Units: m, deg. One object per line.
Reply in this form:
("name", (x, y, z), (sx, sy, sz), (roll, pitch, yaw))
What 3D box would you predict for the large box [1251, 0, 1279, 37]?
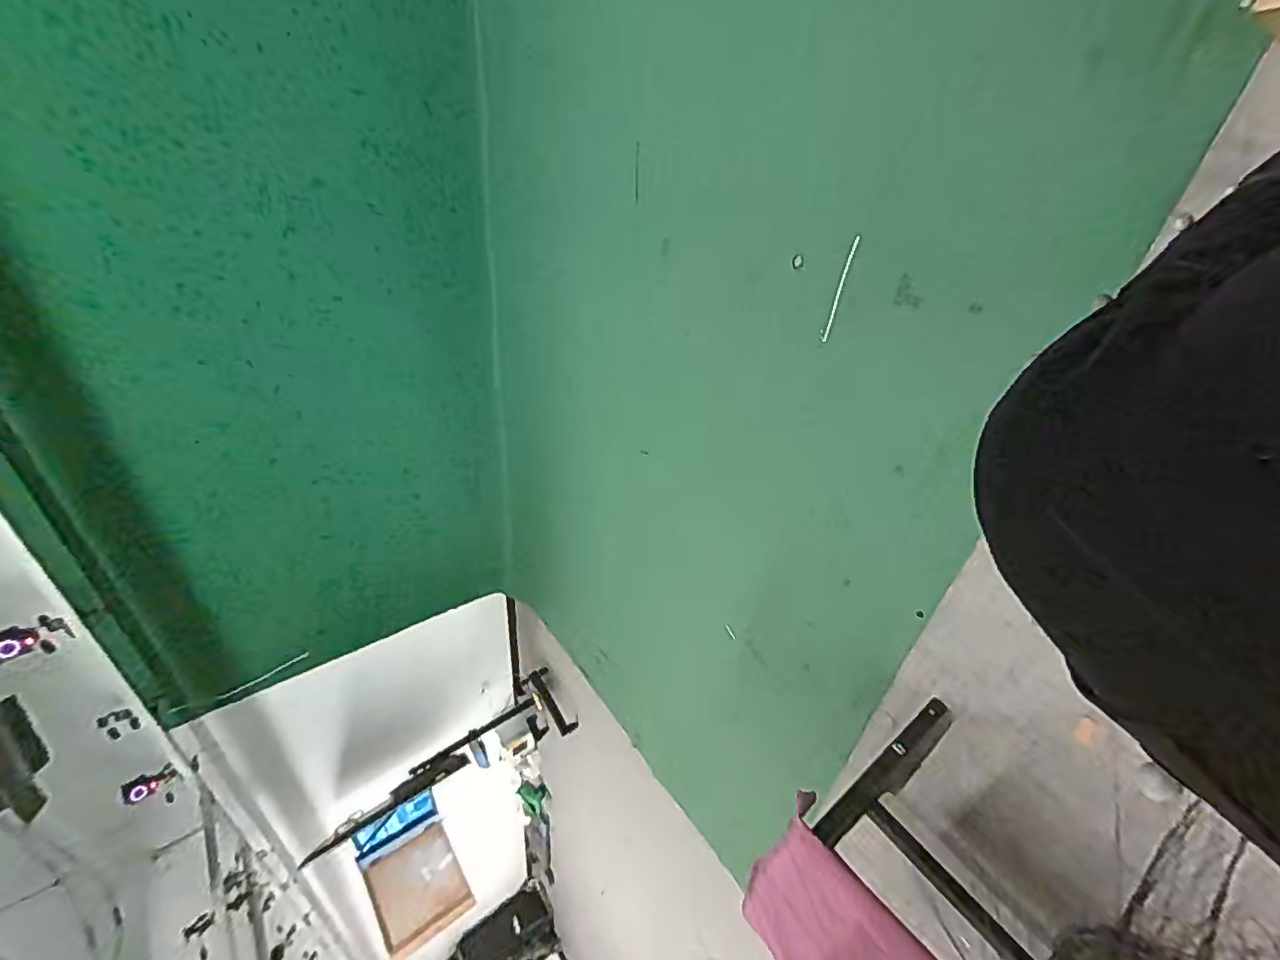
("large box", (1.066, -0.757, 0.610), (0.408, 0.320, 0.320), (26, 126, 49))
